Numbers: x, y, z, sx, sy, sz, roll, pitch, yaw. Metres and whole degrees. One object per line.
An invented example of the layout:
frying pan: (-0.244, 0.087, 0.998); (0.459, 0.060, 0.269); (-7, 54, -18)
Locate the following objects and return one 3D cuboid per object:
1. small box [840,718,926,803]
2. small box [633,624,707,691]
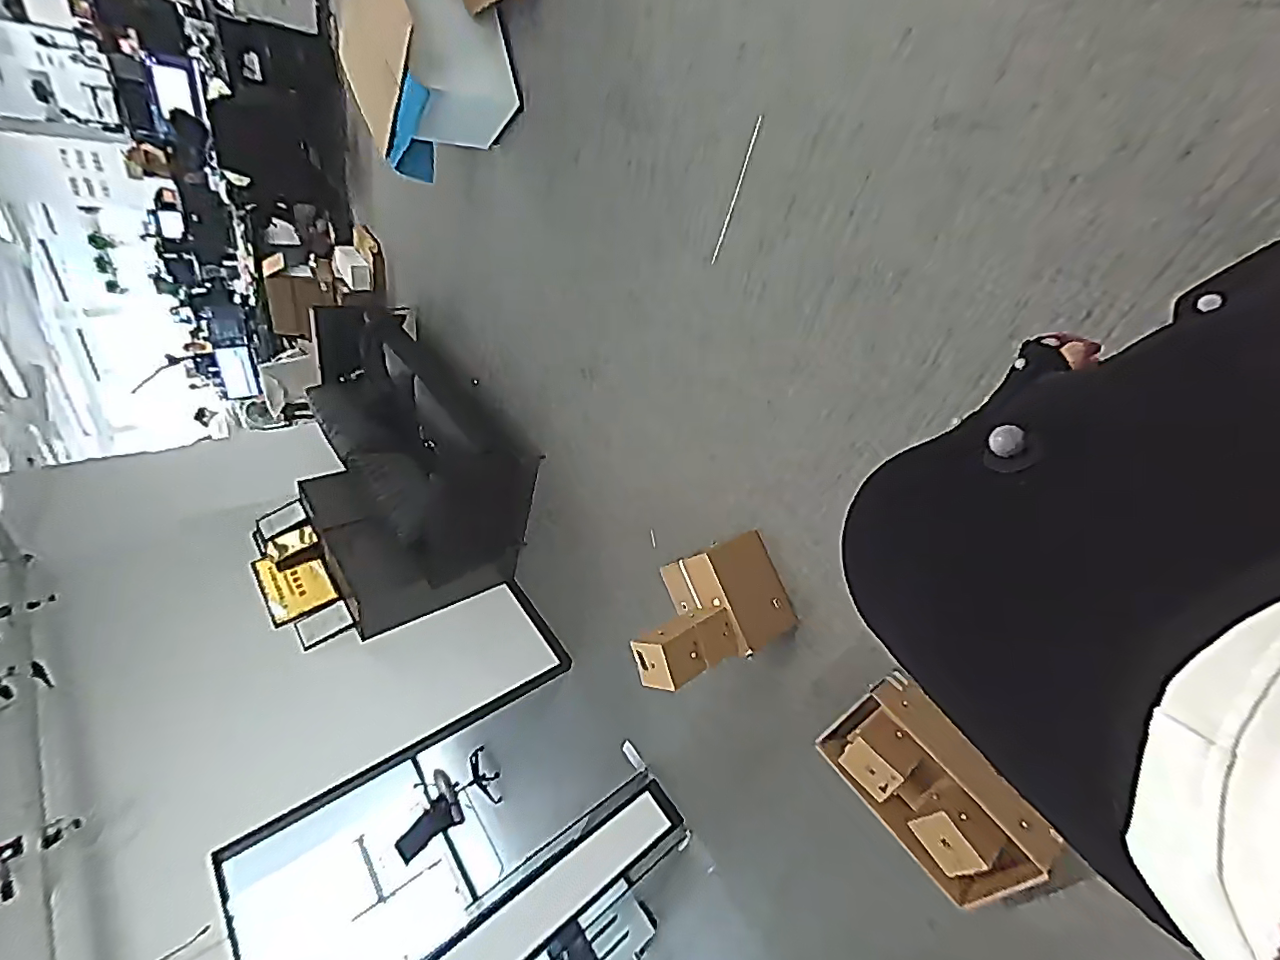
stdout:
small box: (0.828, 0.943, 1.842); (0.179, 0.176, 0.168); (42, 132, 32)
small box: (0.107, 0.620, 1.908); (0.179, 0.176, 0.168); (-15, 92, 50)
